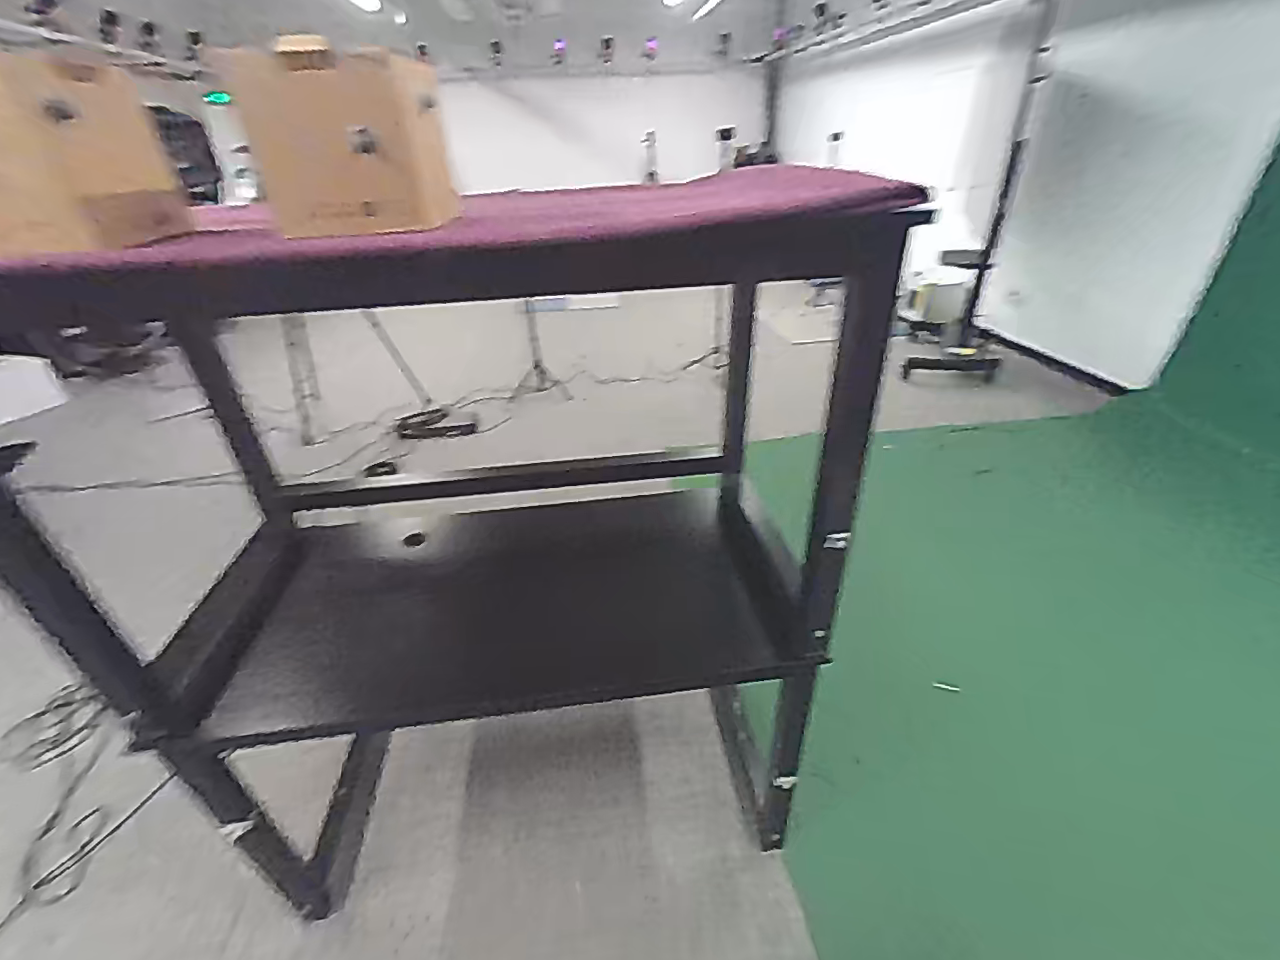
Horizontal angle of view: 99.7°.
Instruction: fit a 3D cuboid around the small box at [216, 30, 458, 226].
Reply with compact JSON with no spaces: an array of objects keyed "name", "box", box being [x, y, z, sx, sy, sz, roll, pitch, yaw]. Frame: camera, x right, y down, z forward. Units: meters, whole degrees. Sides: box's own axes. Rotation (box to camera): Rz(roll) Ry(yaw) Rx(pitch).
[{"name":"small box","box":[-0.318,-0.389,0.617,0.168,0.176,0.179,-4,31,-4]}]
